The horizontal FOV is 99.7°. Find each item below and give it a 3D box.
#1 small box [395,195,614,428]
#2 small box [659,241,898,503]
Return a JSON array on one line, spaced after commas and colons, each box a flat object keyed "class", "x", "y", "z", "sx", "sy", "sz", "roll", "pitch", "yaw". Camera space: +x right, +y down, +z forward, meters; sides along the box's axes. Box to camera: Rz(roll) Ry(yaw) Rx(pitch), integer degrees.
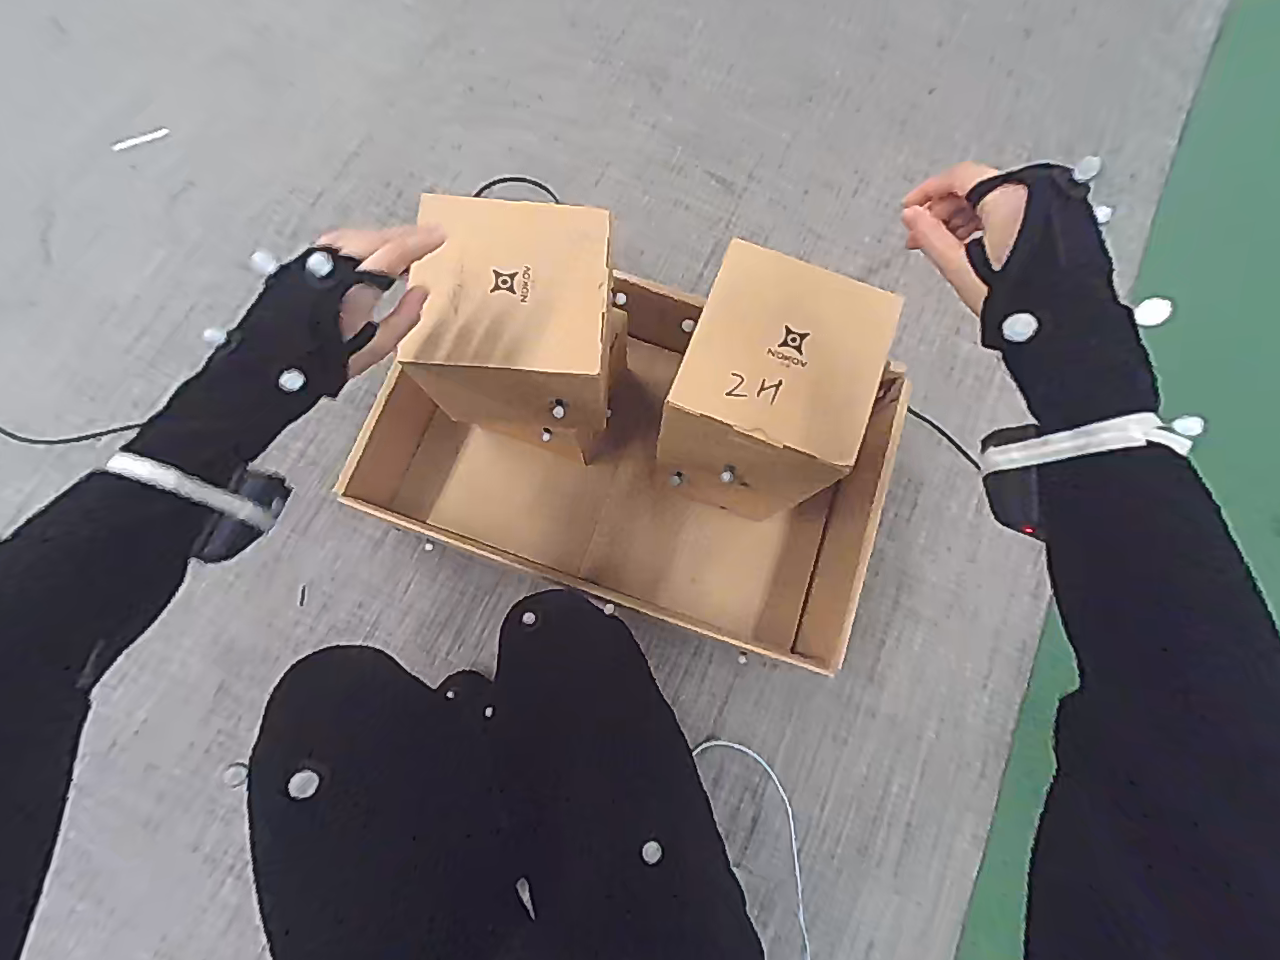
[{"class": "small box", "x": -0.121, "y": -0.157, "z": 0.556, "sx": 0.179, "sy": 0.176, "sz": 0.168, "roll": 4, "pitch": 79, "yaw": -2}, {"class": "small box", "x": 0.123, "y": -0.094, "z": 0.547, "sx": 0.168, "sy": 0.176, "sz": 0.179, "roll": 22, "pitch": 78, "yaw": 3}]
